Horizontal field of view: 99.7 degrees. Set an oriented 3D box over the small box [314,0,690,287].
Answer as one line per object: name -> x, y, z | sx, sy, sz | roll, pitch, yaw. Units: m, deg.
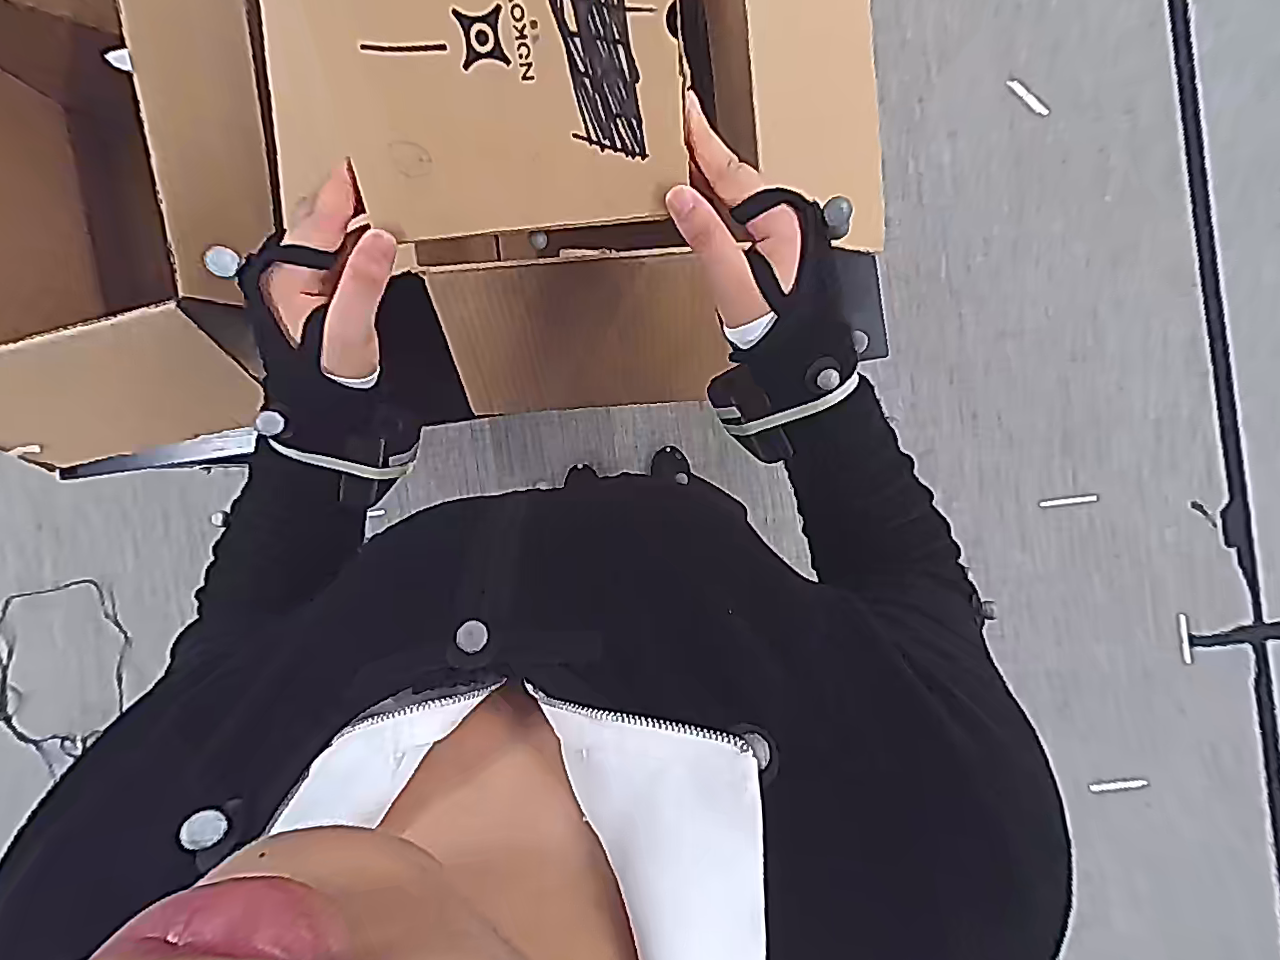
small box -> -0.066, -0.230, 0.347 | 0.179, 0.176, 0.168 | -5, 119, 1
